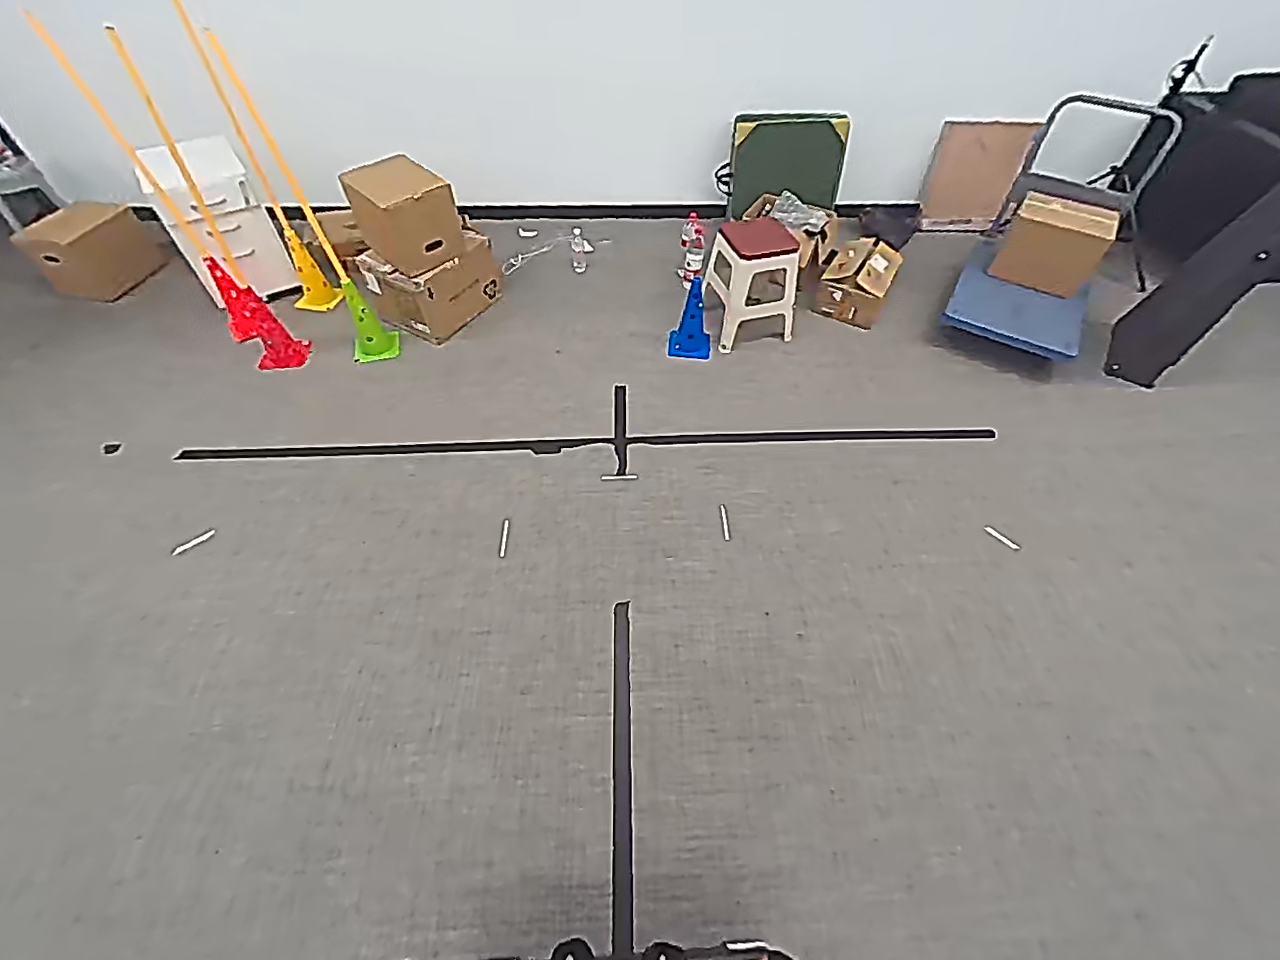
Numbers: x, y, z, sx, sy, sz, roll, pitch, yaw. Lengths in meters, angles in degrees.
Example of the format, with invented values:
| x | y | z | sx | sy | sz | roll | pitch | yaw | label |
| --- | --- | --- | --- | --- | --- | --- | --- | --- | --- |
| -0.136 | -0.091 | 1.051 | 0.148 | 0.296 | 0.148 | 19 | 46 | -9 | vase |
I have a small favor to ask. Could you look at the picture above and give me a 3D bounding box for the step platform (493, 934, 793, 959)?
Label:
| x | y | z | sx | sy | sz | roll | pitch | yaw | label |
| --- | --- | --- | --- | --- | --- | --- | --- | --- | --- |
| 0.001 | 1.134 | 1.099 | 0.684 | 0.204 | 0.286 | -2 | 52 | -4 | step platform |
